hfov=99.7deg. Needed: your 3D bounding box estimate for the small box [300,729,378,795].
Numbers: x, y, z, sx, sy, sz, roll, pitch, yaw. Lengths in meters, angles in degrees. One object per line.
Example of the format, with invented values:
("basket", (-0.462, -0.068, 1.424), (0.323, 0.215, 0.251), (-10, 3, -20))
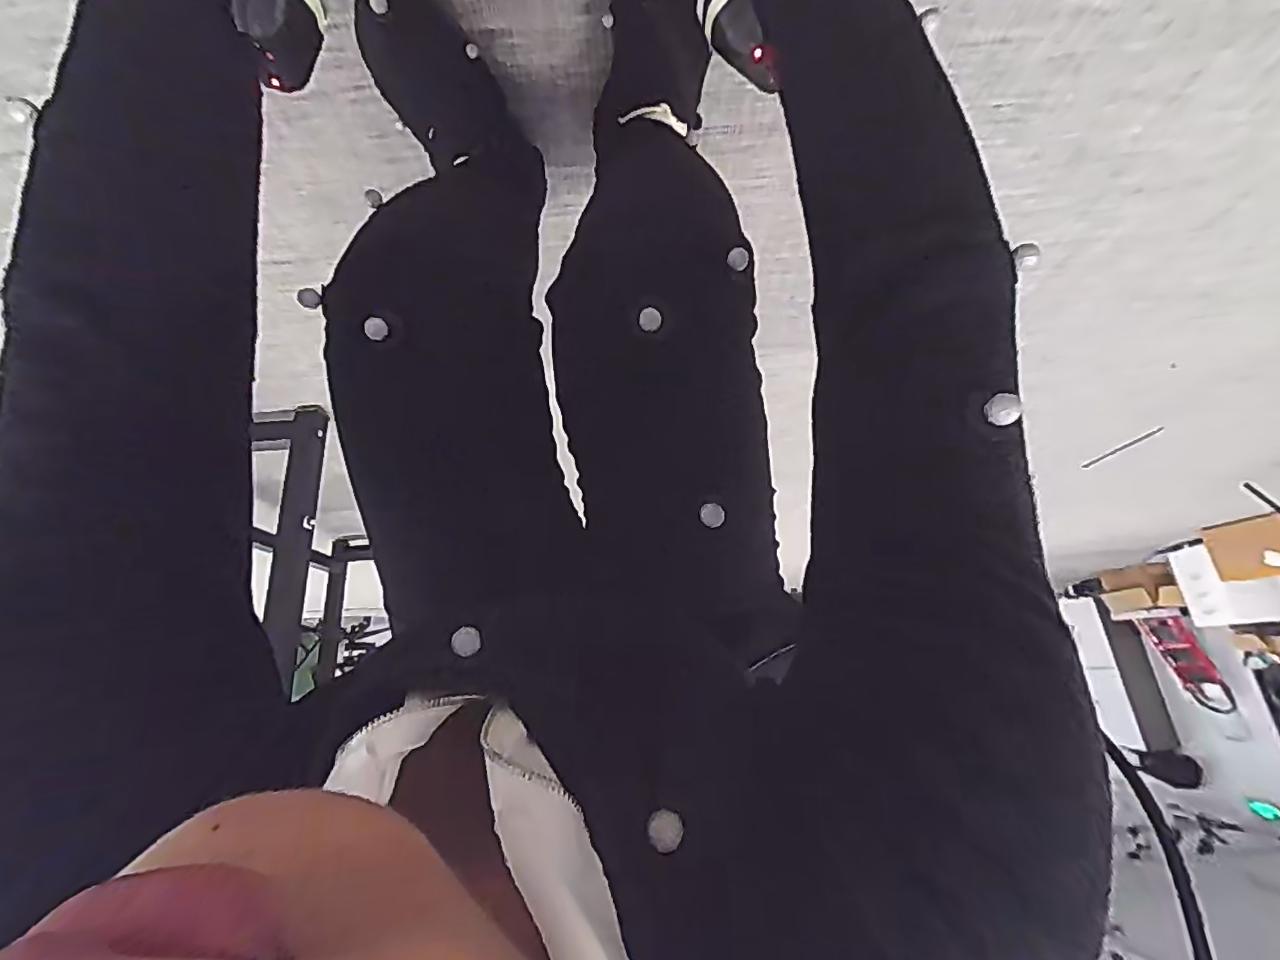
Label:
("small box", (-0.985, 0.922, 1.786), (0.179, 0.176, 0.168), (-3, 159, -3))
